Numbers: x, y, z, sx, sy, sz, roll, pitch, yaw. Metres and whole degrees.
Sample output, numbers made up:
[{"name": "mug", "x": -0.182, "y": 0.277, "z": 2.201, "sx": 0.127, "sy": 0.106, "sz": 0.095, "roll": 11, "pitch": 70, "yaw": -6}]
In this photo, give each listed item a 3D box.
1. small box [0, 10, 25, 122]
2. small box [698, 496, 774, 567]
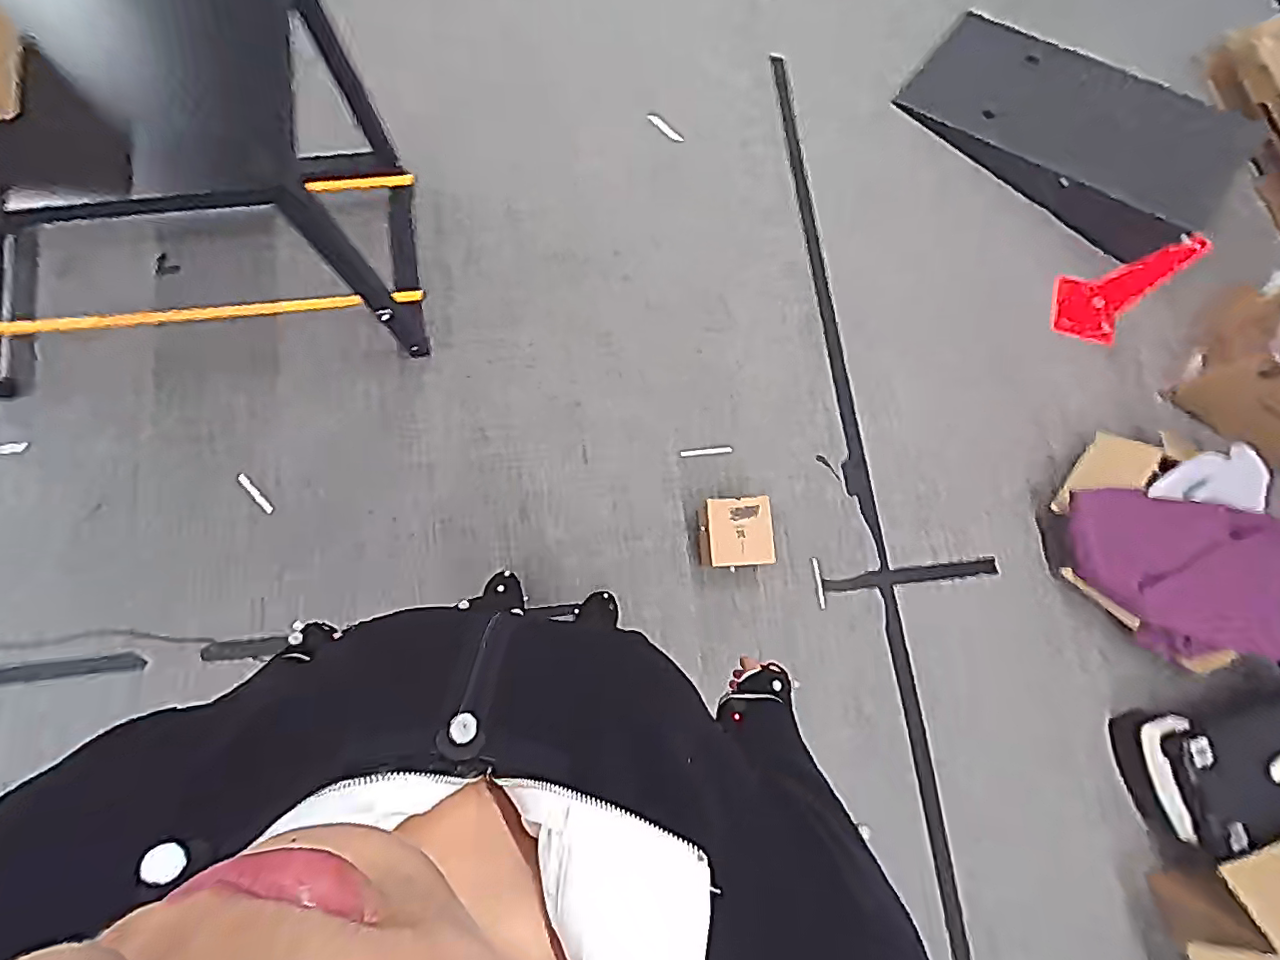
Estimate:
[{"name": "small box", "x": -1.078, "y": -0.667, "z": 0.796, "sx": 0.168, "sy": 0.176, "sz": 0.179, "roll": -8, "pitch": 81, "yaw": -3}, {"name": "small box", "x": 0.254, "y": 0.144, "z": 1.468, "sx": 0.168, "sy": 0.176, "sz": 0.179, "roll": -3, "pitch": 81, "yaw": -3}]
